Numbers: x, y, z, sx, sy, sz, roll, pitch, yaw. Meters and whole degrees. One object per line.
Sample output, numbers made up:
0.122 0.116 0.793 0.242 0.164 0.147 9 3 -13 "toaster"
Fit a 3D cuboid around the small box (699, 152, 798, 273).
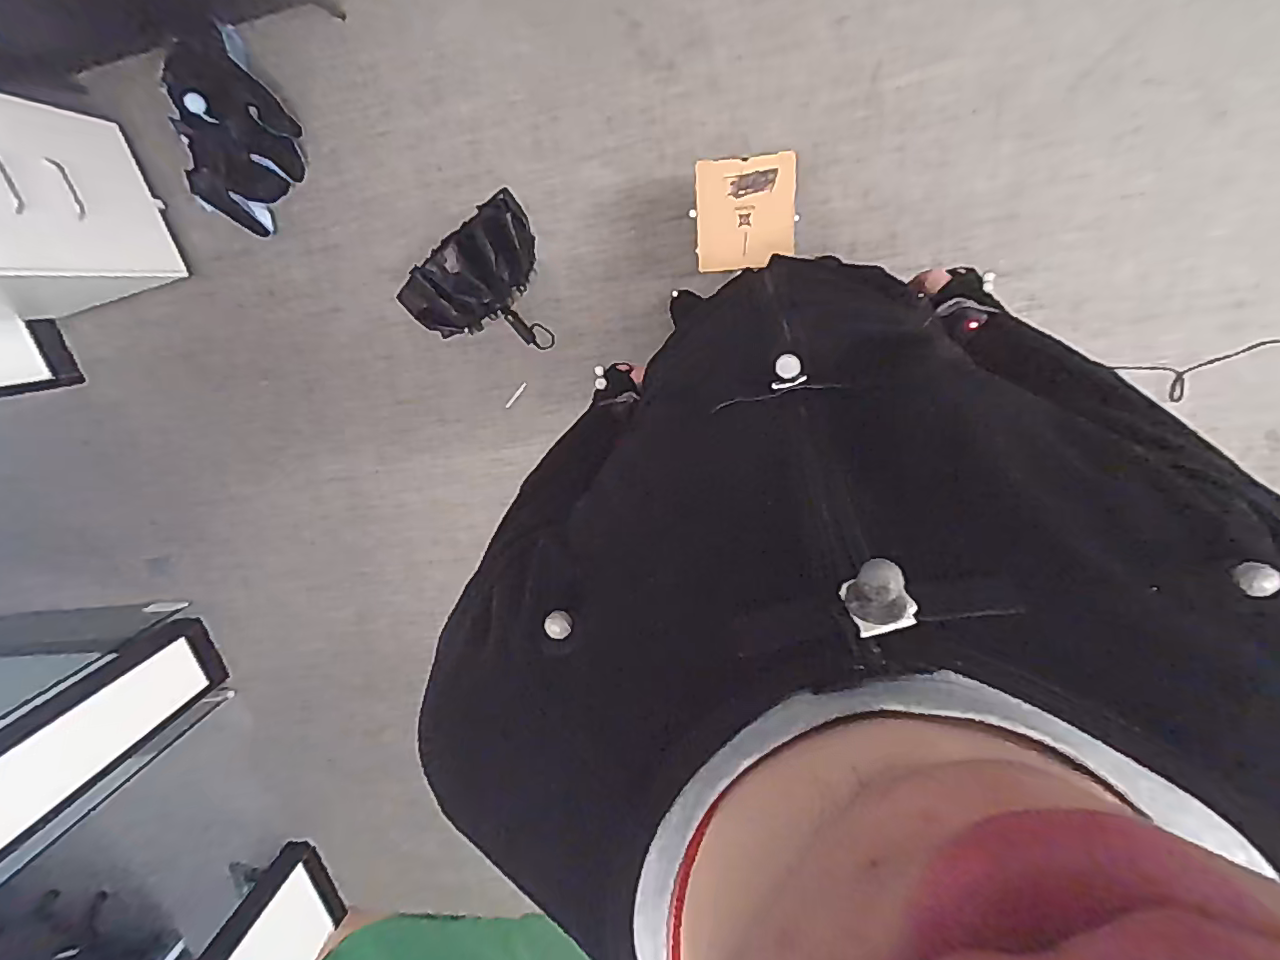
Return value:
0.192 -0.479 0.993 0.168 0.176 0.179 -1 111 9 "small box"
